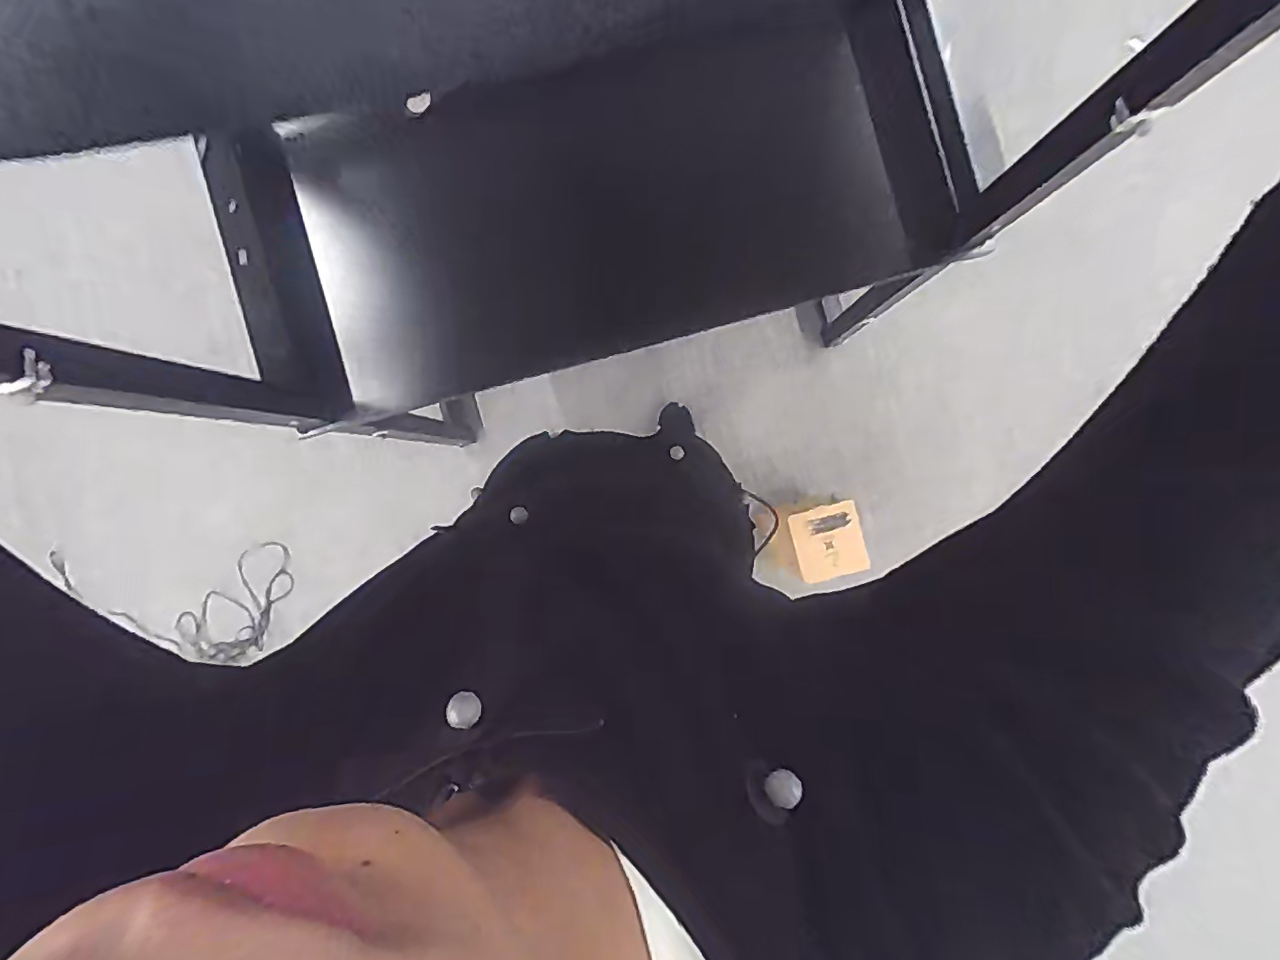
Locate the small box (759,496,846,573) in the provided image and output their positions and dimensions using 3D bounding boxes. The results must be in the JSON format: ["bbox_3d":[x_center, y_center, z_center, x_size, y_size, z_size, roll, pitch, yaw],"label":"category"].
[{"bbox_3d":[0.453,0.147,1.531,0.179,0.176,0.168,-17,90,3],"label":"small box"}]
